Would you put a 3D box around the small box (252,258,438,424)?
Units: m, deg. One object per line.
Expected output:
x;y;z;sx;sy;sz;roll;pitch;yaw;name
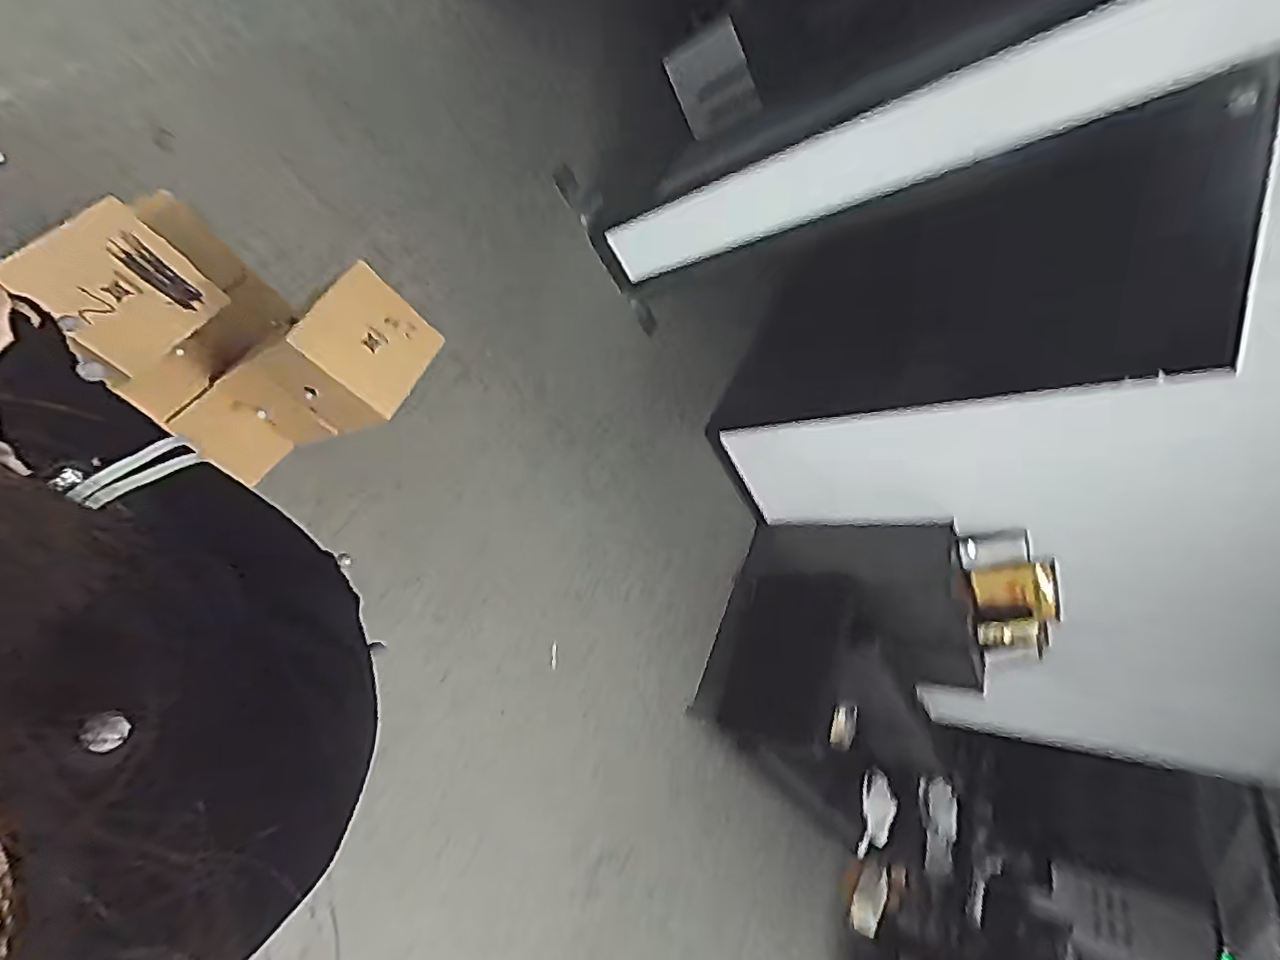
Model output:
-0.464;-0.206;0.847;0.168;0.176;0.179;48;51;-38;small box

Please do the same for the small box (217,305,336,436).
-0.592;-0.196;0.951;0.168;0.176;0.179;50;52;-36;small box
